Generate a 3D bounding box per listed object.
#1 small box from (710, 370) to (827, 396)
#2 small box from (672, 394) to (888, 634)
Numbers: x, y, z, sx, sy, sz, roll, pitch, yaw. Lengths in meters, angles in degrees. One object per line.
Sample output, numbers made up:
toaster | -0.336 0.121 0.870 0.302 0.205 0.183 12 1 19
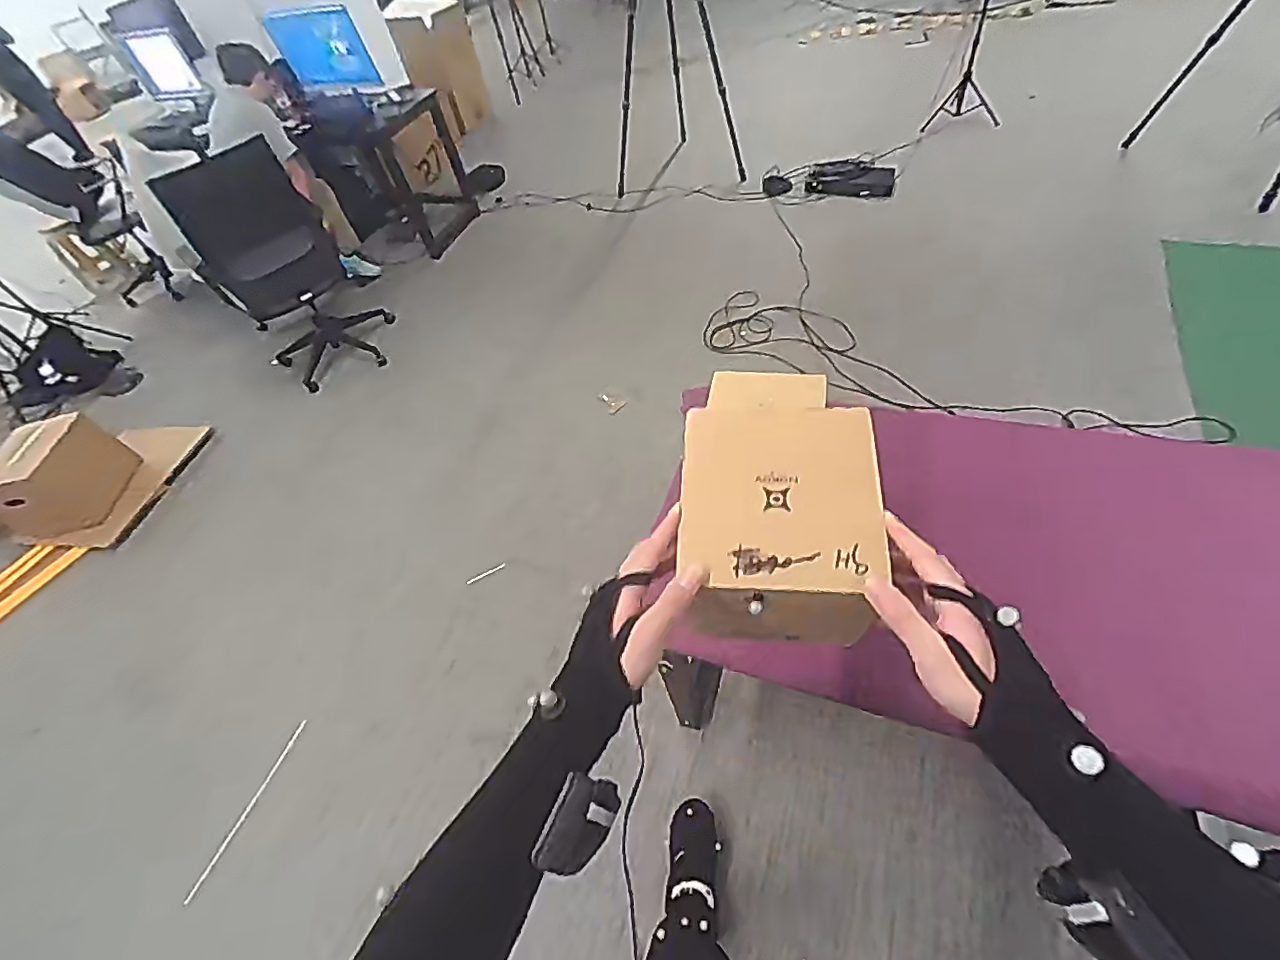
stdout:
small box | 0.184 -0.043 0.816 0.168 0.176 0.179 5 54 16
small box | 0.127 0.037 0.524 0.168 0.176 0.179 0 61 12
